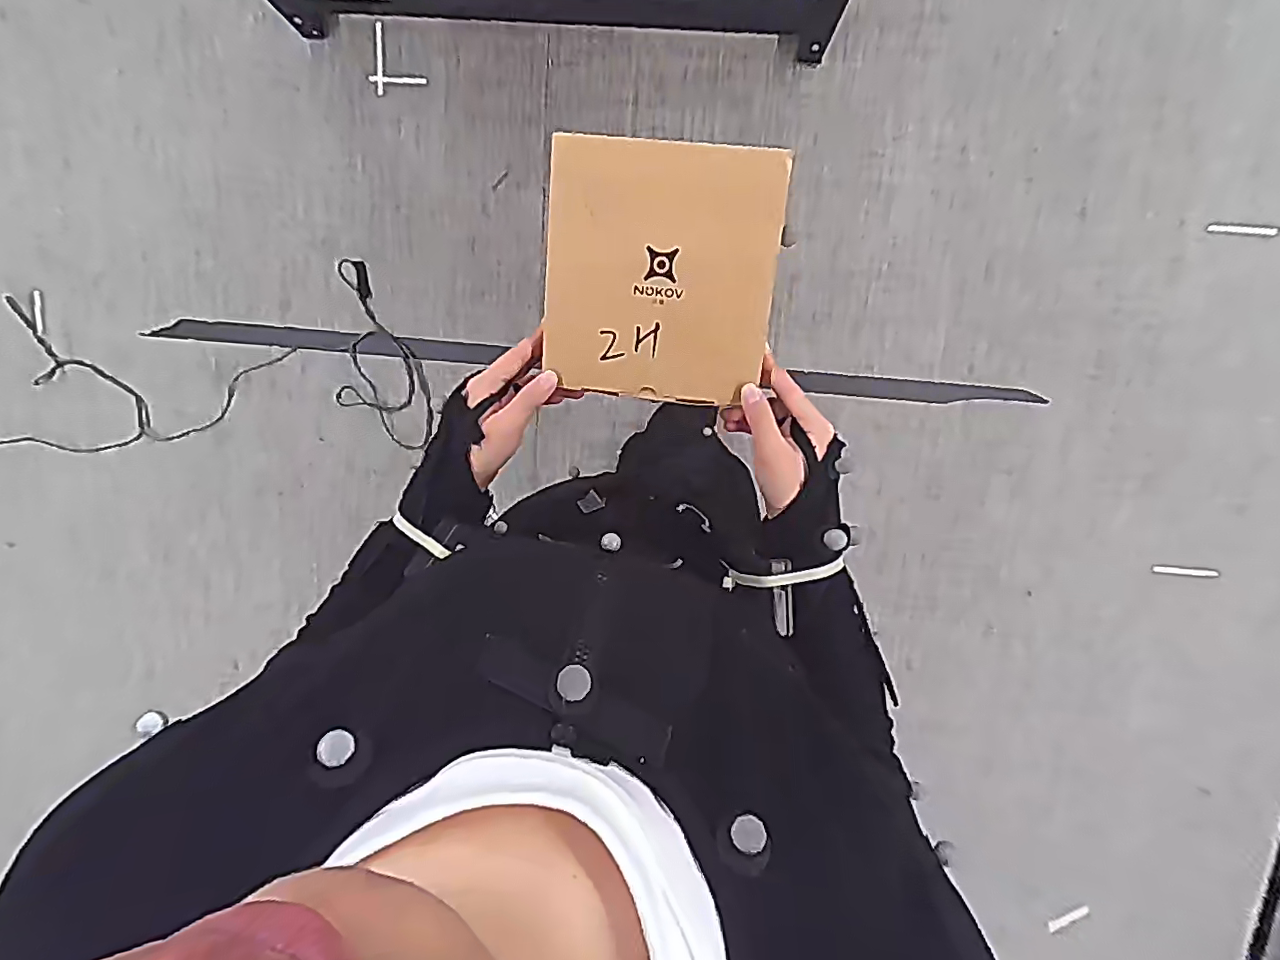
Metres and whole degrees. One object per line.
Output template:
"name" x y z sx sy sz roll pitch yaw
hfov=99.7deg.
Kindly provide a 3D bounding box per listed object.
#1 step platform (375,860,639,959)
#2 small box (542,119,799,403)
"step platform" -0.345 1.251 1.454 0.684 0.204 0.286 4 99 0
"small box" 0.023 -0.169 0.458 0.168 0.176 0.179 7 105 4
